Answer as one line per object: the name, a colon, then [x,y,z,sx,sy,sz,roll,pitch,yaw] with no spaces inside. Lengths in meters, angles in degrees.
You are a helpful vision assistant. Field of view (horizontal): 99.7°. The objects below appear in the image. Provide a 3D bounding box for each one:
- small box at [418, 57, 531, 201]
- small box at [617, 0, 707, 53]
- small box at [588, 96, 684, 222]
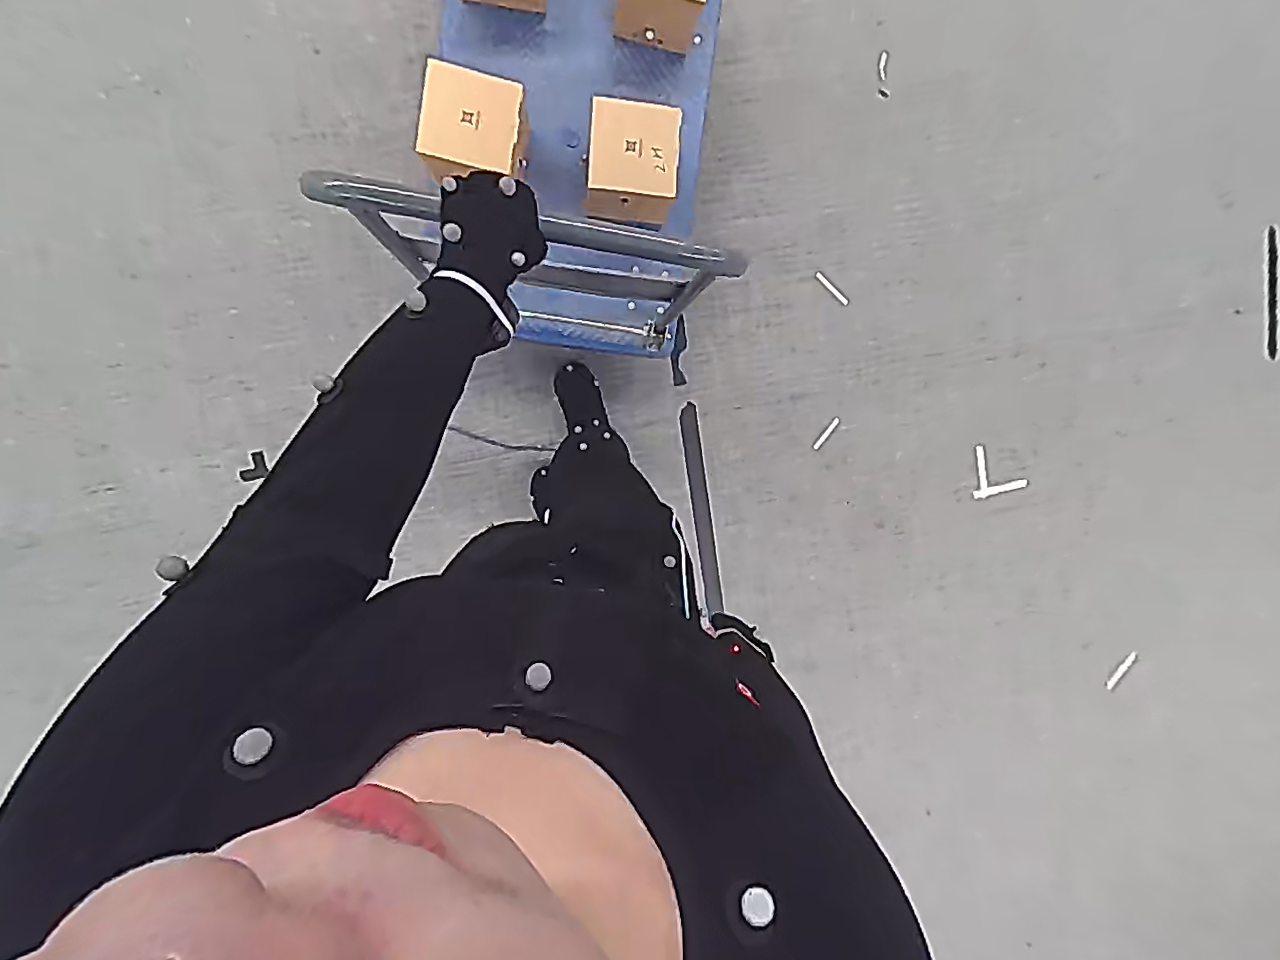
small box: [-0.320,-0.683,1.077,0.179,0.176,0.168,10,97,-10]
small box: [0.051,-1.010,1.072,0.168,0.176,0.179,9,99,-8]
small box: [-0.015,-0.652,1.119,0.179,0.176,0.168,3,98,-8]
